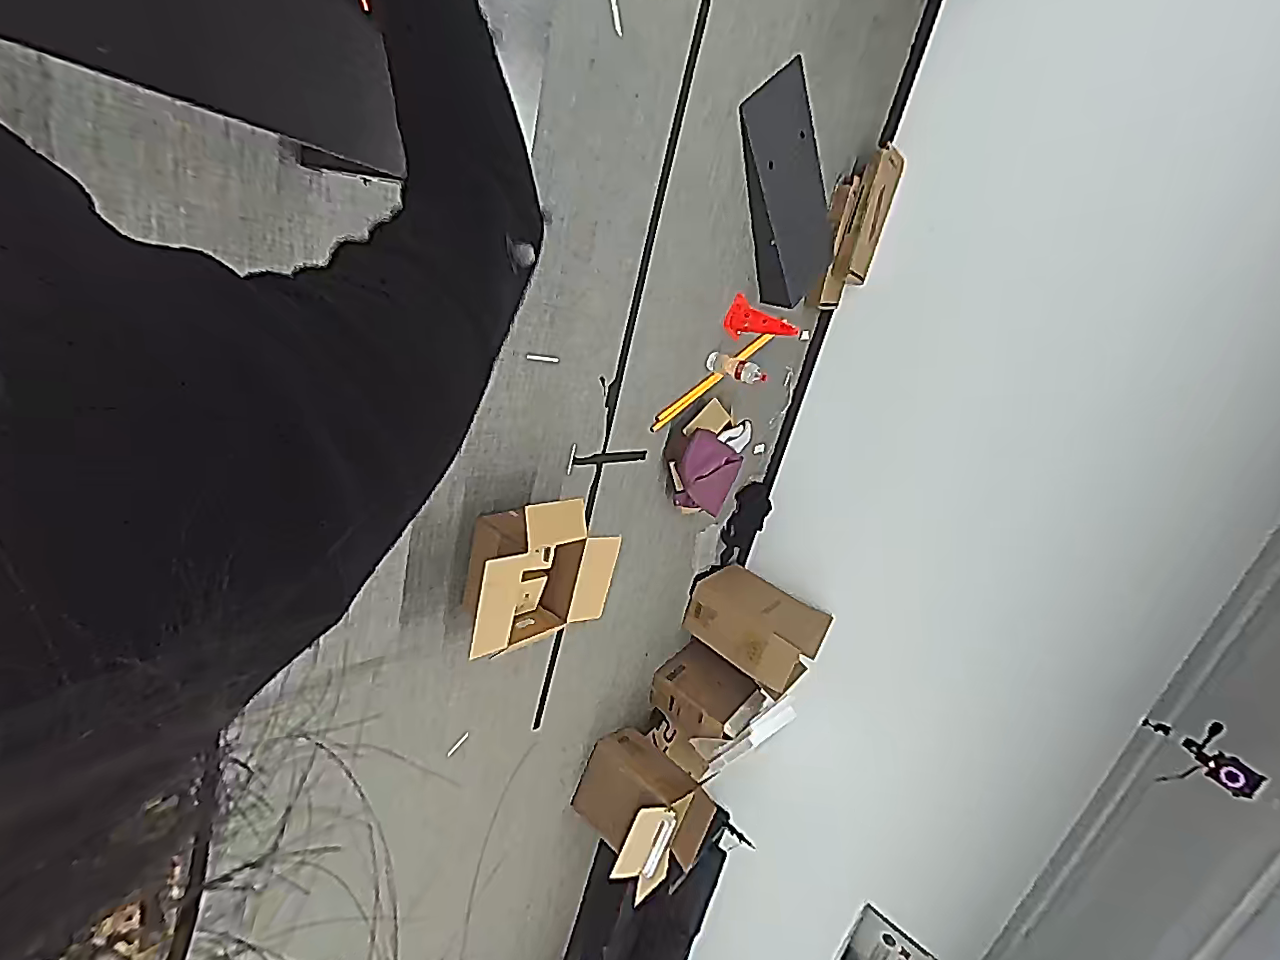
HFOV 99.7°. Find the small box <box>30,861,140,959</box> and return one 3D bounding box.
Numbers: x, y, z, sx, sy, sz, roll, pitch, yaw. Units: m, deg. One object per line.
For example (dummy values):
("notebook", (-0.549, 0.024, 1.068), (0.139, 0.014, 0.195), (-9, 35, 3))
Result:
("small box", (-1.427, 1.141, 1.390), (0.179, 0.176, 0.168), (-3, 112, -52))
